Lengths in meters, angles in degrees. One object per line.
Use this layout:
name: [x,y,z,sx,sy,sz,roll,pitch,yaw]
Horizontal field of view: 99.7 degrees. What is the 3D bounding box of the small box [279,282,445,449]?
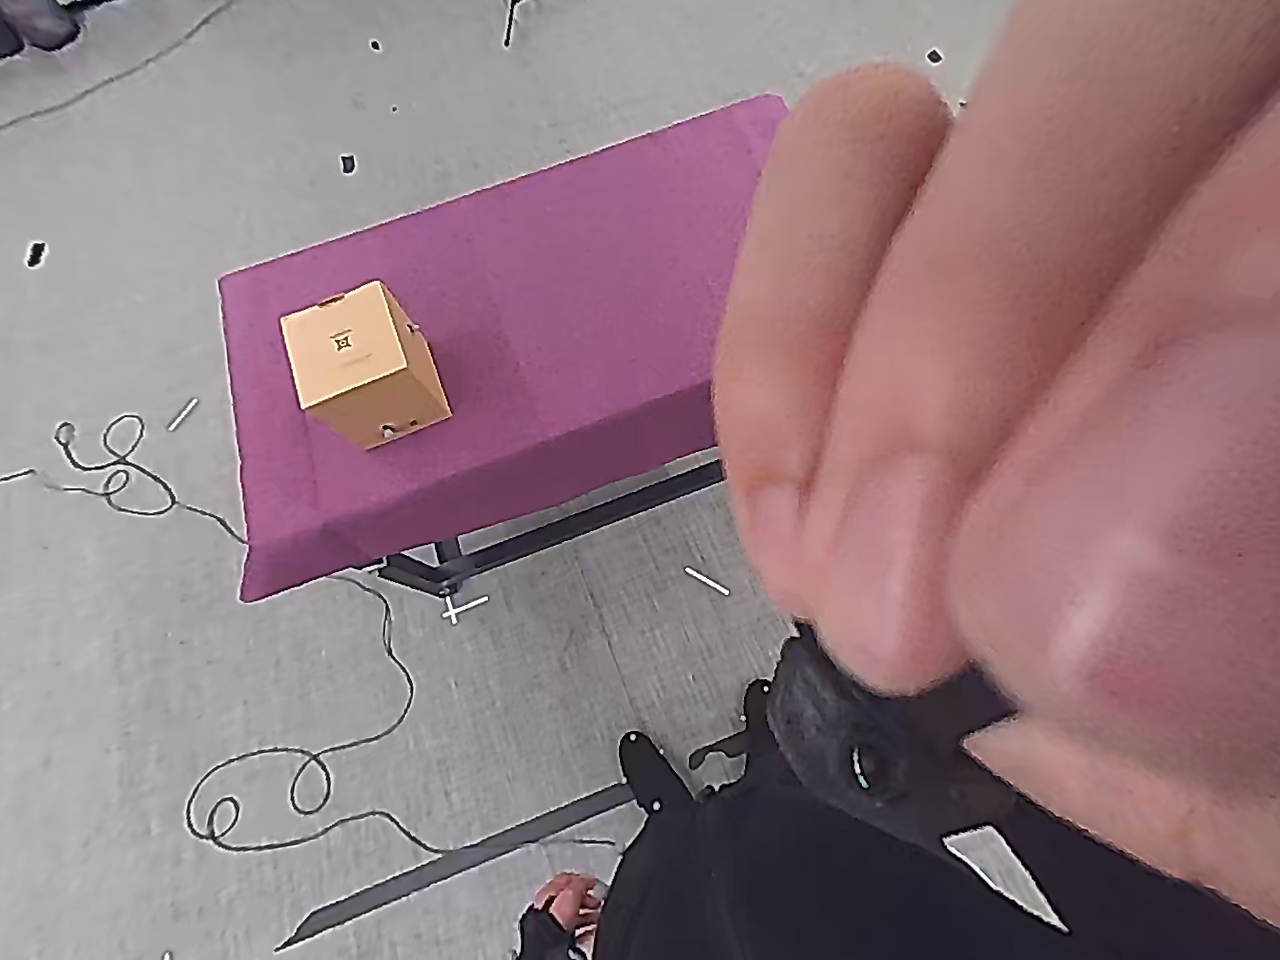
small box: [-0.446,-0.180,0.885,0.168,0.176,0.179,-23,70,-4]
